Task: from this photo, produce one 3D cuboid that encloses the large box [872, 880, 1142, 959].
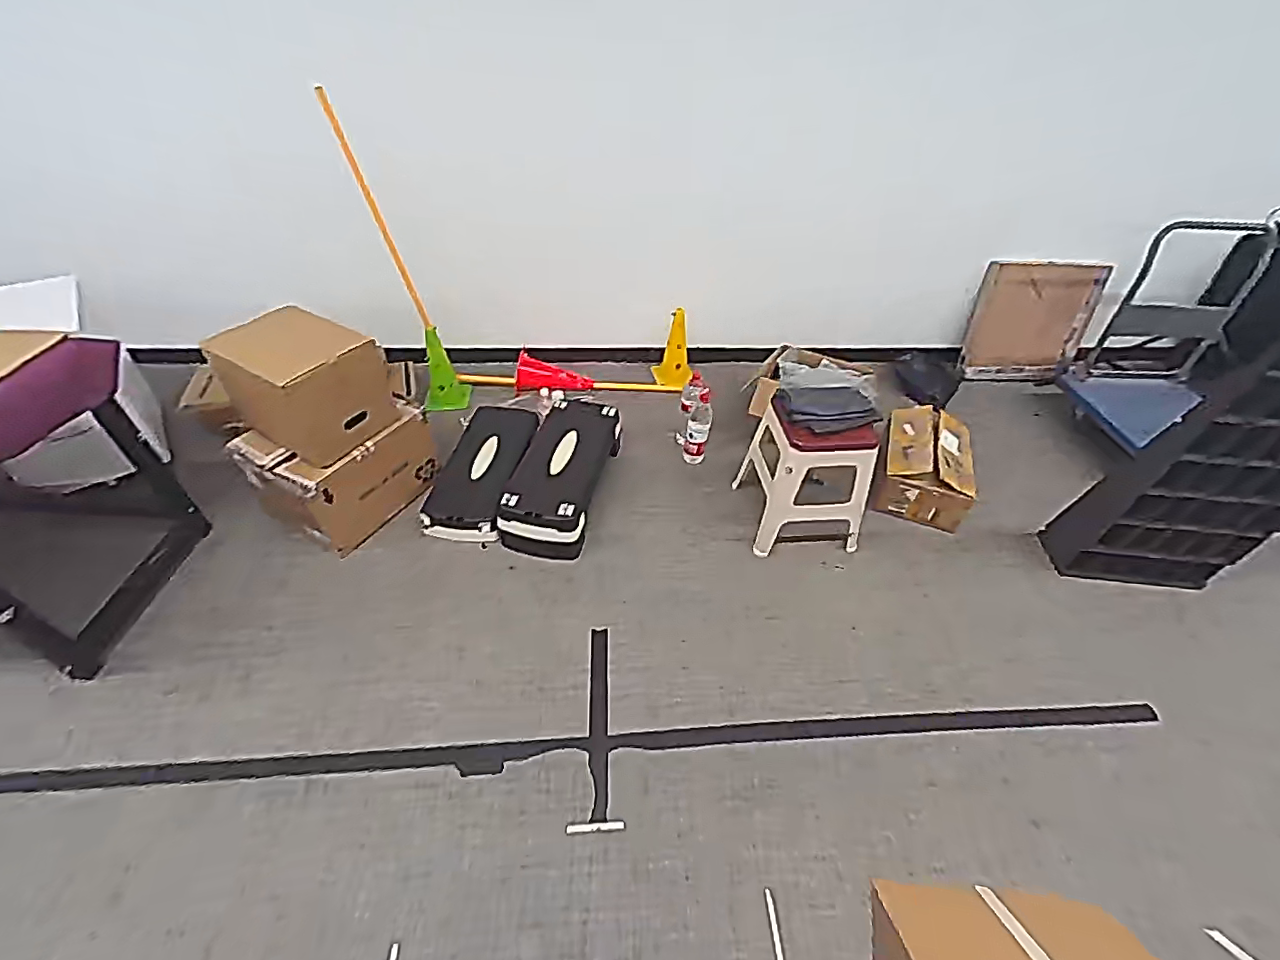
[{"bbox_3d":[0.473,0.740,0.591,0.320,0.408,0.320,2,83,7],"label":"large box"}]
